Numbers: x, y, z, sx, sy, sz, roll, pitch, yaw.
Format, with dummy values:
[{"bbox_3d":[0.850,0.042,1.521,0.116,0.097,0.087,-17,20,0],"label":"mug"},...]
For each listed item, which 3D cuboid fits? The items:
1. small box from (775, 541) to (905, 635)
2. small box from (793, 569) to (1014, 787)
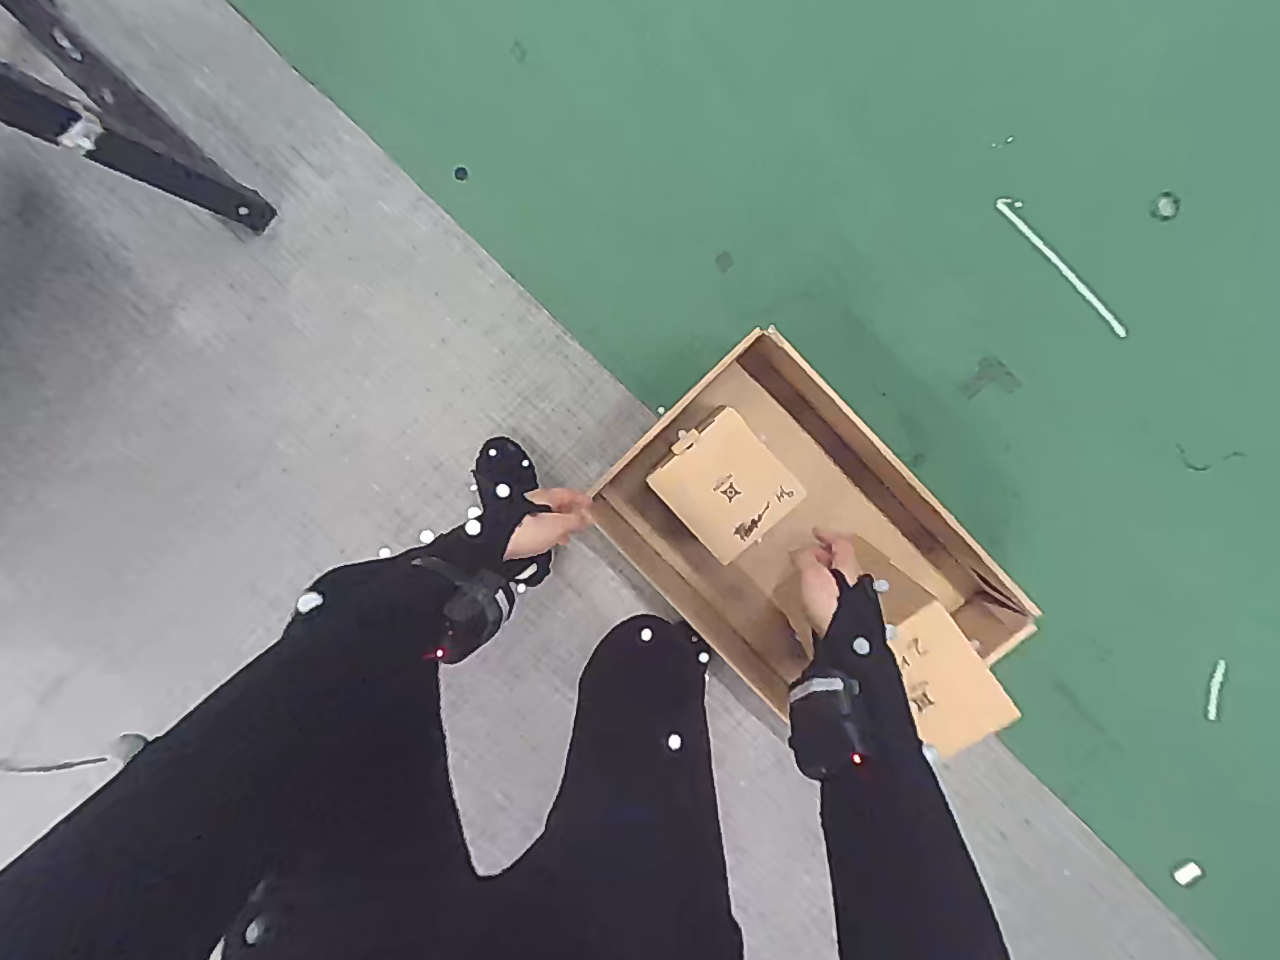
[{"bbox_3d":[0.343,0.221,0.876,0.179,0.176,0.168,-36,93,9],"label":"small box"},{"bbox_3d":[0.330,0.246,0.713,0.168,0.176,0.179,-36,93,7],"label":"small box"}]
